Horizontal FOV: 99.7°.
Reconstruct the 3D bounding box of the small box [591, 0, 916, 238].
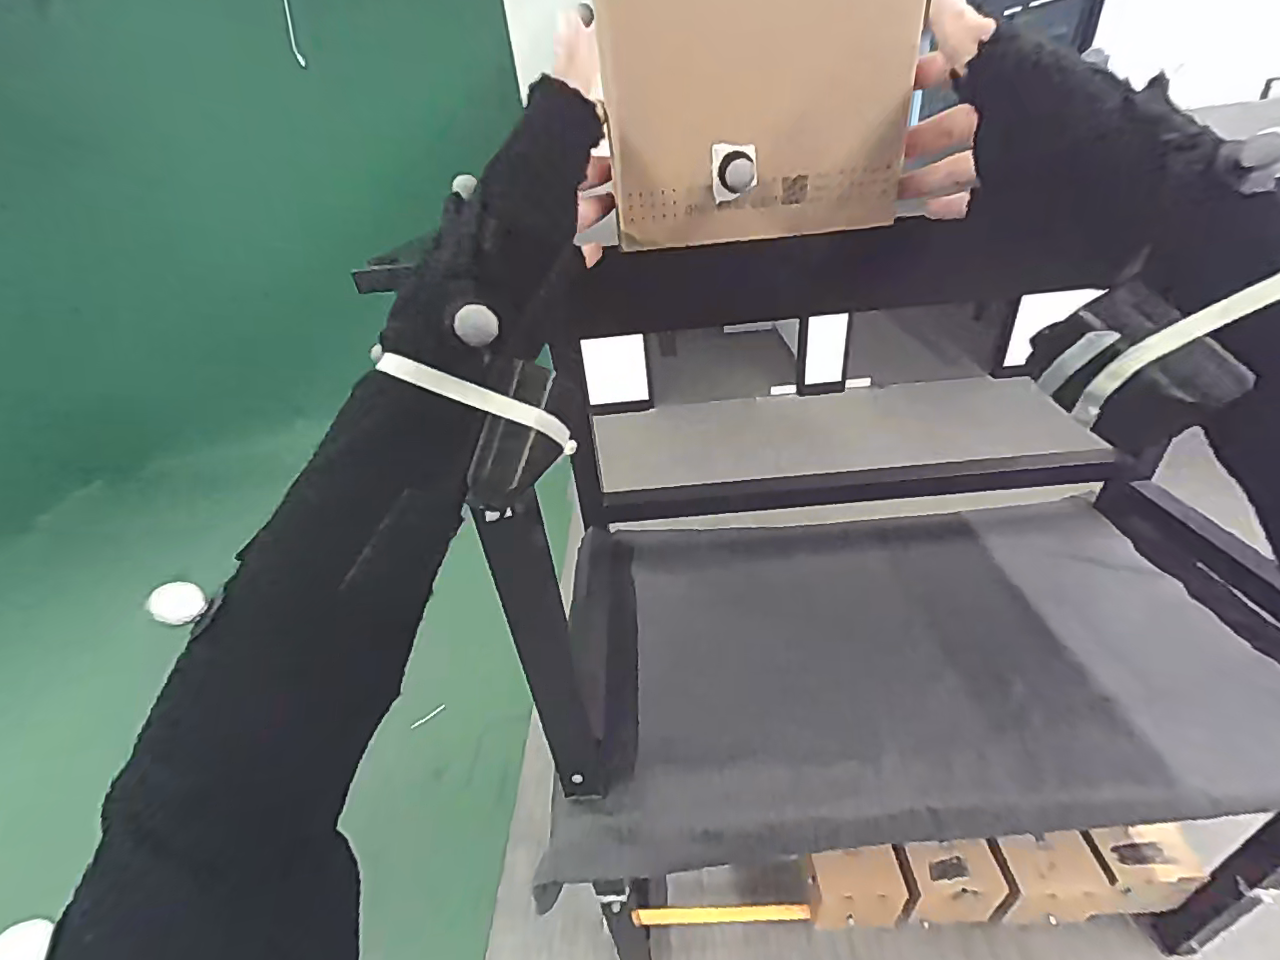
[{"bbox_3d":[0.057,-0.263,0.350,0.168,0.176,0.179,-6,34,2],"label":"small box"}]
